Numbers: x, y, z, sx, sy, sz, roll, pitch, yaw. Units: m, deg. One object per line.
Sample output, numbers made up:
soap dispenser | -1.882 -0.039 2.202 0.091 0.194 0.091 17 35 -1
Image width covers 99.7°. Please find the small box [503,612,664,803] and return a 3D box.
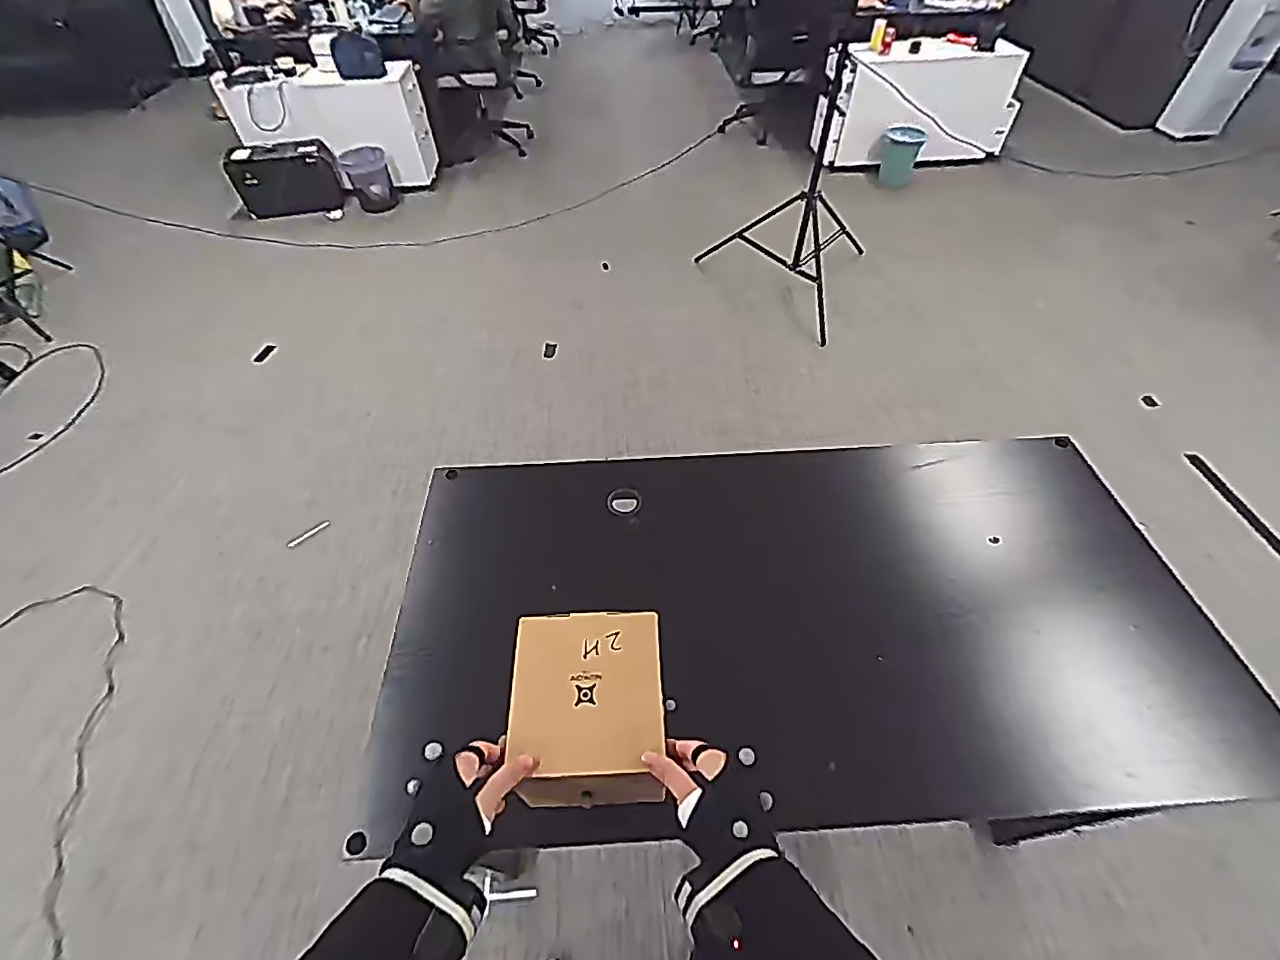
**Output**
small box | -0.057 0.280 0.655 0.168 0.176 0.179 -3 50 -1
